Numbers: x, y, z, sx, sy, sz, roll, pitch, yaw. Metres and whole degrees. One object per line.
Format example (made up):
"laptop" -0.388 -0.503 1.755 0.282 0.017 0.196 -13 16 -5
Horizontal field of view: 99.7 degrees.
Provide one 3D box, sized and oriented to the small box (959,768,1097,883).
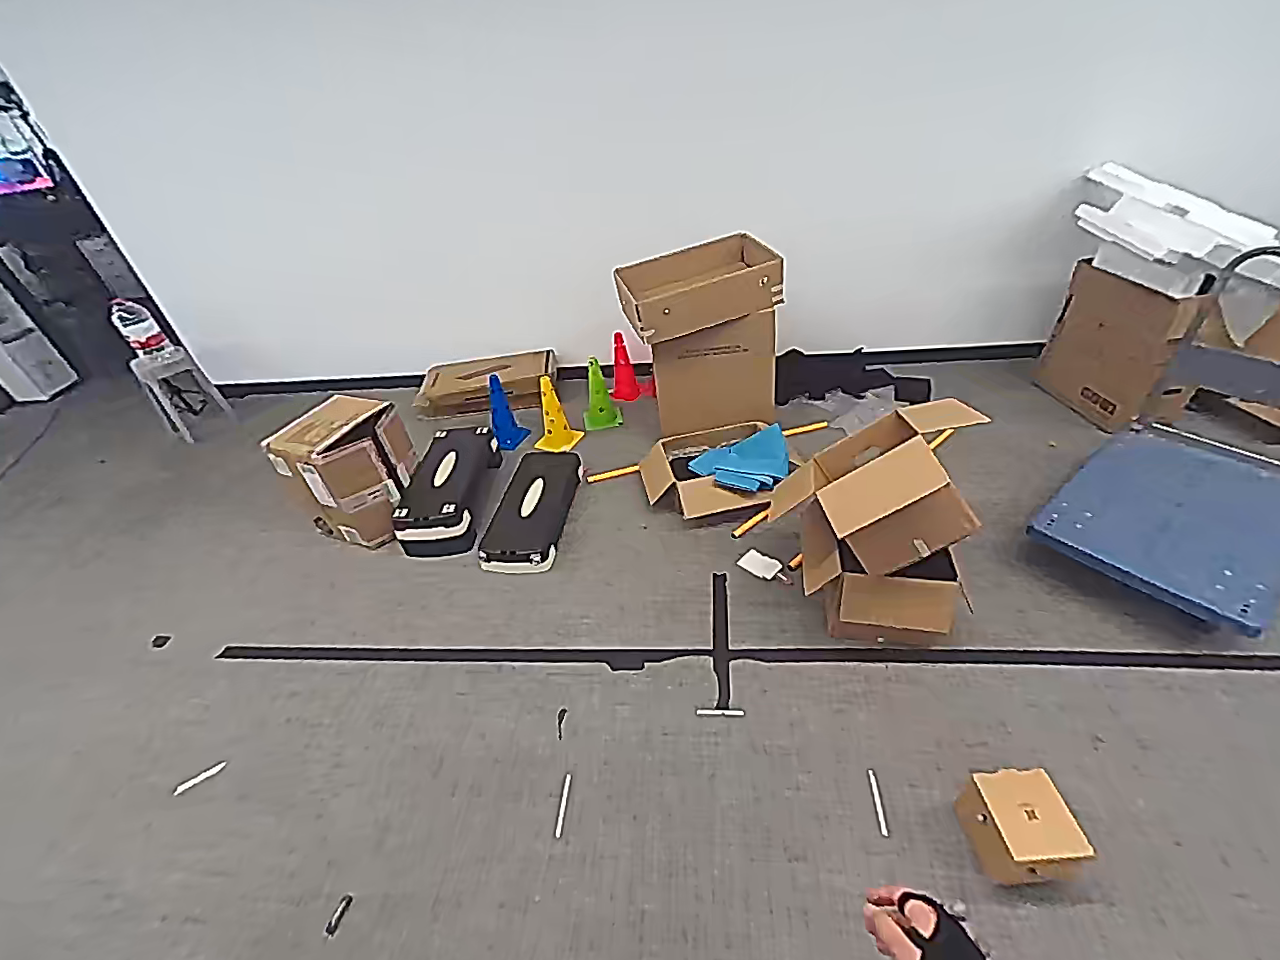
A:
"small box" 0.856 0.780 1.215 0.168 0.176 0.179 -6 38 2
